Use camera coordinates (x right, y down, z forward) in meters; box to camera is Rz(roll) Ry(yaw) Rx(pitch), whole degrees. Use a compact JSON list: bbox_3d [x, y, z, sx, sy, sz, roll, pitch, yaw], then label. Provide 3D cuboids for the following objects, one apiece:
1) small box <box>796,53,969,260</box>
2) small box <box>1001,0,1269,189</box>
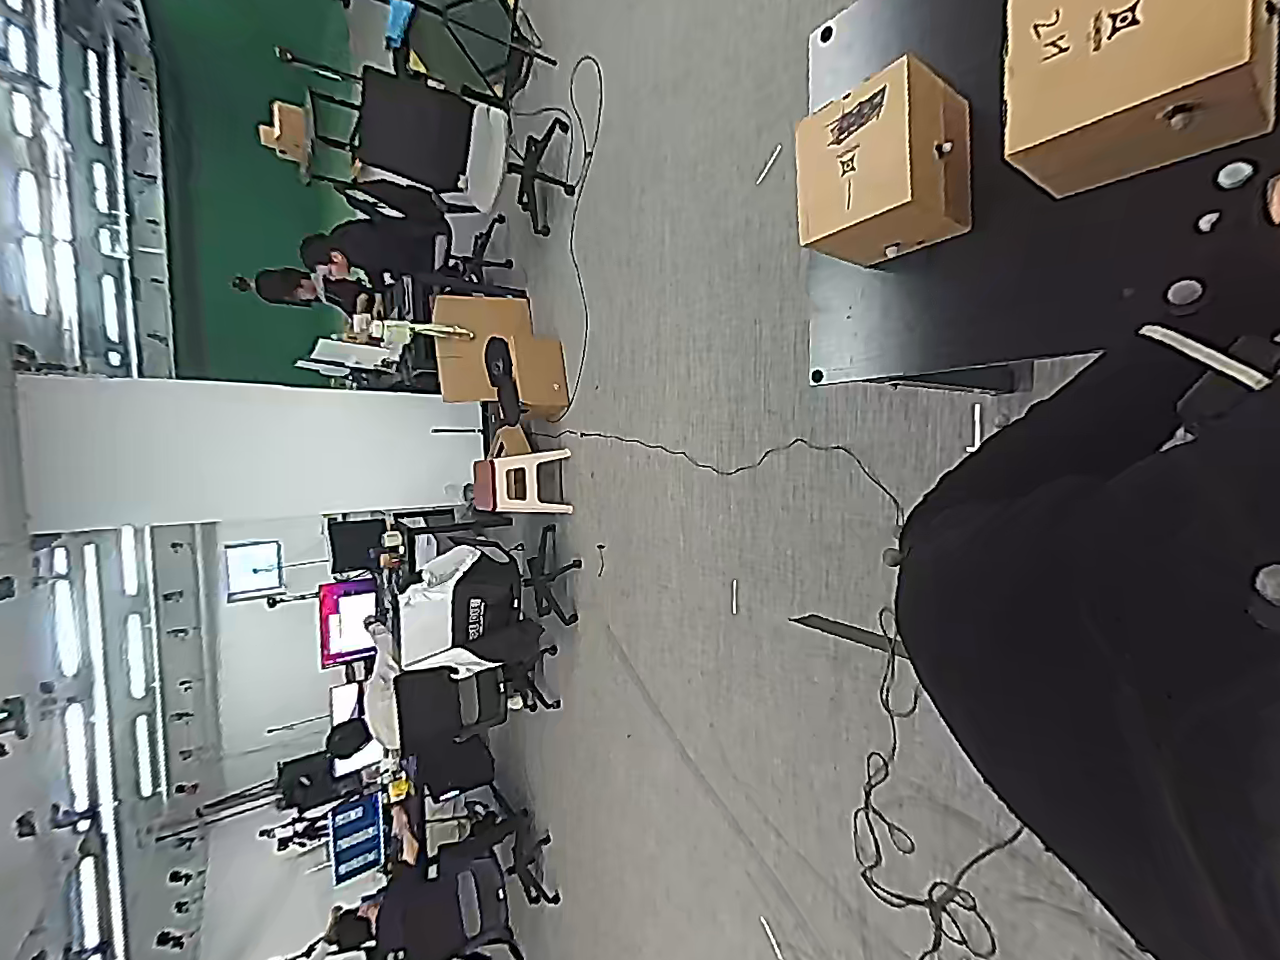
[{"bbox_3d":[0.341,-0.434,0.764,0.168,0.176,0.179,0,94,54],"label":"small box"},{"bbox_3d":[0.498,-0.428,0.547,0.179,0.176,0.168,4,96,54],"label":"small box"}]
